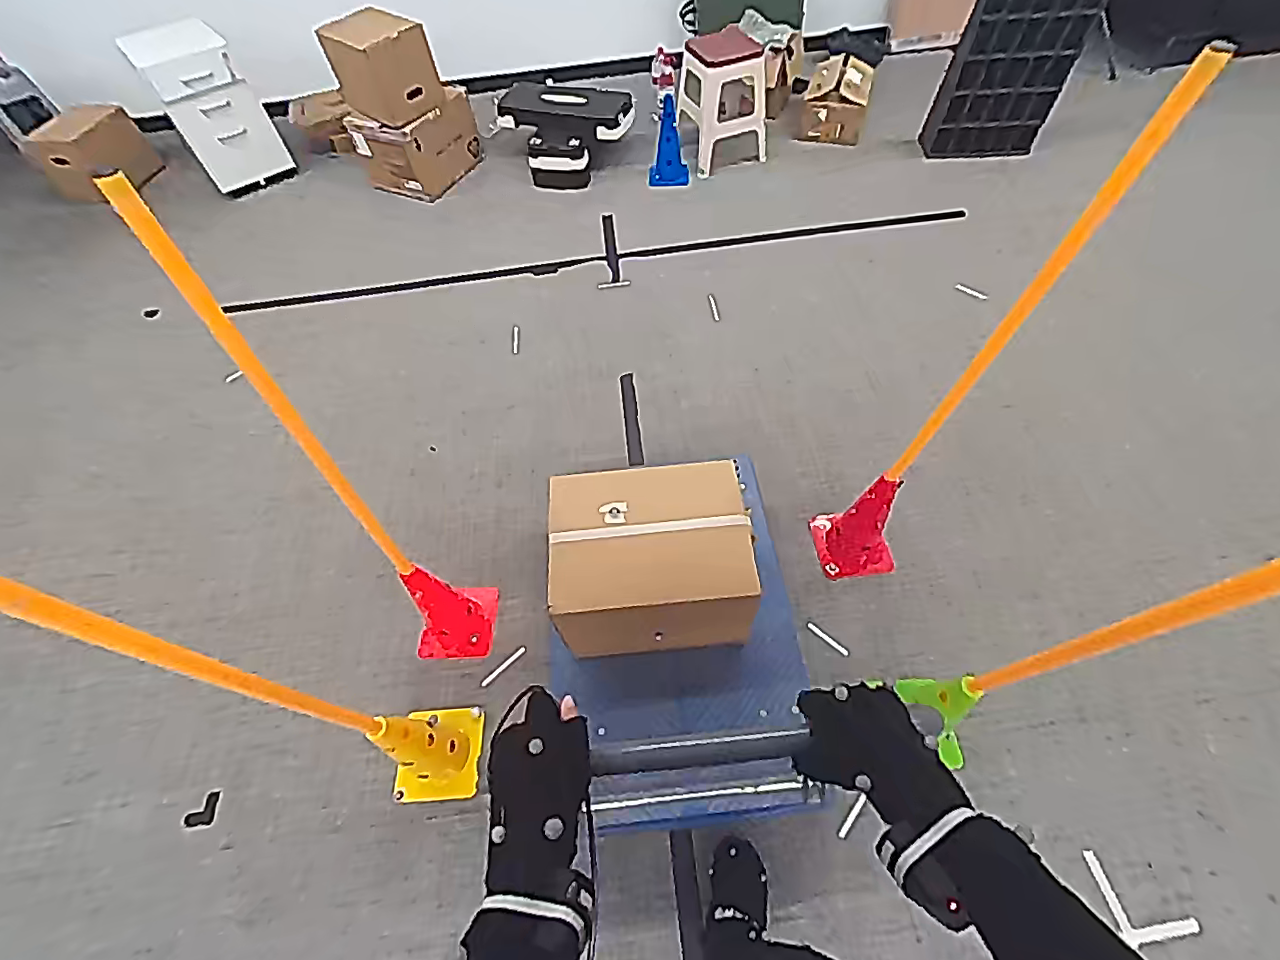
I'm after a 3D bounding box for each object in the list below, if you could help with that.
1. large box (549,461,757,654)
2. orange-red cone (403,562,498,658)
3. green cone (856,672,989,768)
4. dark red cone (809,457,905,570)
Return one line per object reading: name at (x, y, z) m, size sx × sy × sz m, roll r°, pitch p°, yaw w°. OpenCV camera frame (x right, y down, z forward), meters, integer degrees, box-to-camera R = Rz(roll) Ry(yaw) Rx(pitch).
large box at (0.023, 0.187, 1.224) m, size 0.408 × 0.320 × 0.320 m, roll -6°, pitch 57°, yaw 1°
orange-red cone at (-0.512, 0.297, 1.364) m, size 0.198 × 0.360 × 0.199 m, roll 0°, pitch 55°, yaw 3°
green cone at (0.633, 0.483, 1.158) m, size 0.202 × 0.368 × 0.200 m, roll -3°, pitch 56°, yaw 0°
dark red cone at (0.598, 0.071, 1.413) m, size 0.201 × 0.394 × 0.202 m, roll -6°, pitch 57°, yaw -2°
